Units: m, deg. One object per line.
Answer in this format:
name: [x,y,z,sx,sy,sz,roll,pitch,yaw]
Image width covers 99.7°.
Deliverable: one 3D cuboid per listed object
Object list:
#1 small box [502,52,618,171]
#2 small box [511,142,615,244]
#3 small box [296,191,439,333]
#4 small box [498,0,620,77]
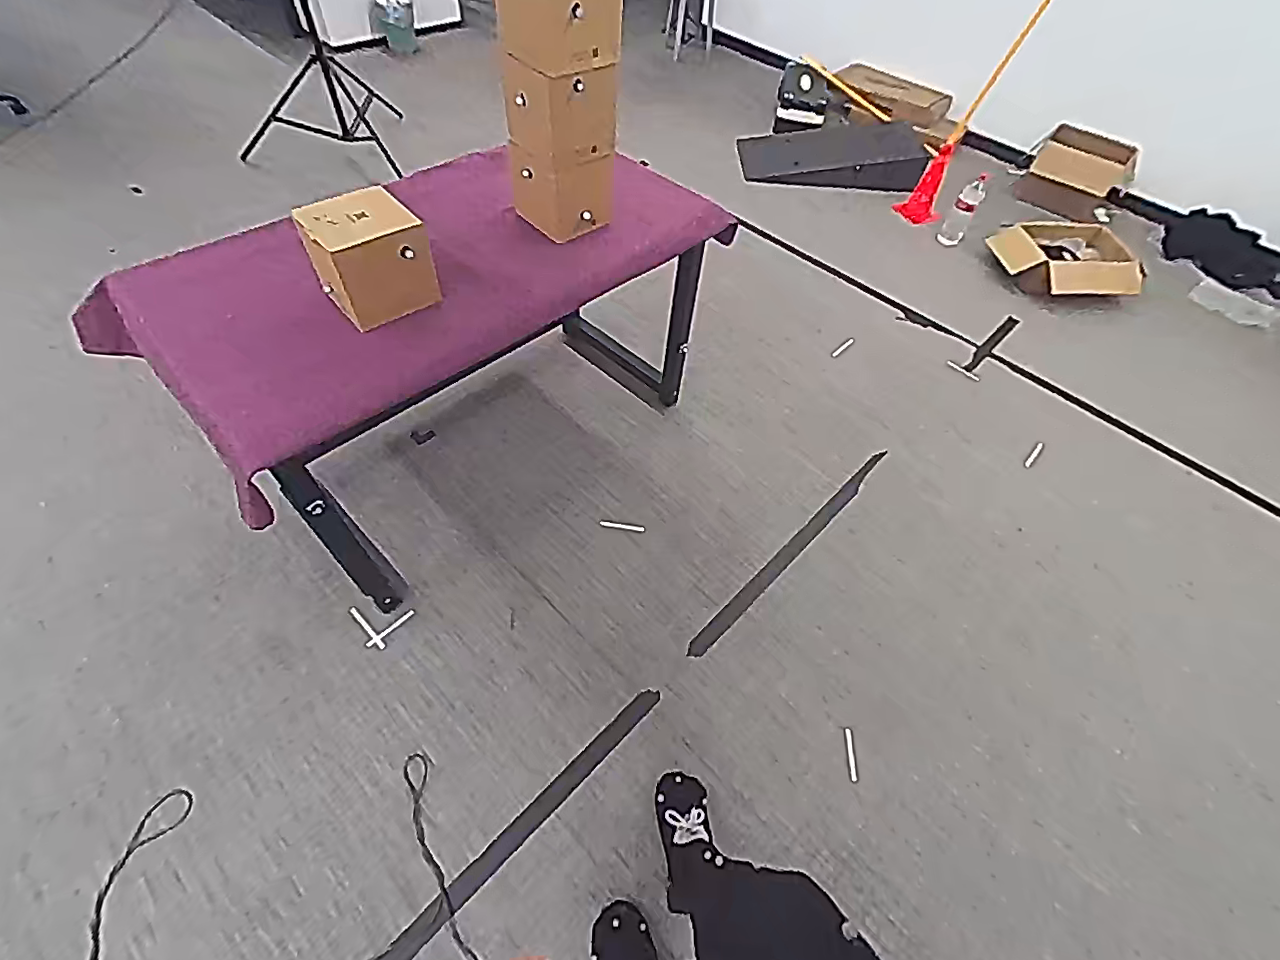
small box: [-0.163,-0.775,1.125,0.168,0.176,0.179,-34,63,-24]
small box: [-0.177,-0.683,1.260,0.168,0.176,0.179,-36,65,-25]
small box: [-0.510,-0.419,1.044,0.179,0.176,0.168,-35,64,-25]
small box: [-0.146,-0.865,0.989,0.168,0.176,0.179,-34,63,-24]
